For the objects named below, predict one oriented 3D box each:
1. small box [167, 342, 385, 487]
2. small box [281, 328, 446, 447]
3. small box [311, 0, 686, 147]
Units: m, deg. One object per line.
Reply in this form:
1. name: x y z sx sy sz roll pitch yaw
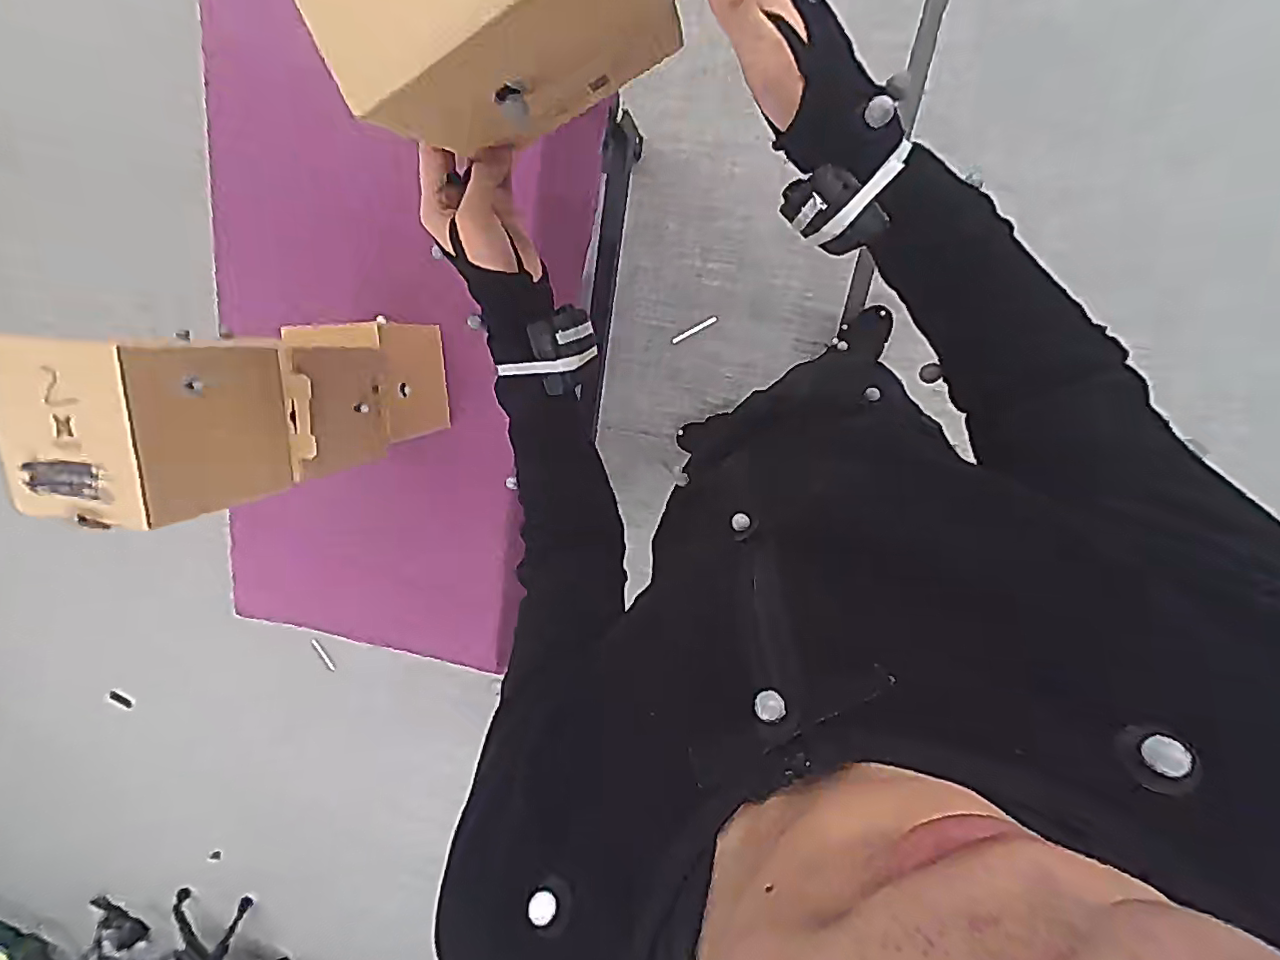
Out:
1. small box: -0.479 -0.097 0.736 0.179 0.176 0.168 6 105 10
2. small box: -0.438 -0.155 0.886 0.168 0.176 0.179 1 103 11
3. small box: -0.084 -0.316 0.302 0.168 0.176 0.179 -20 106 18
